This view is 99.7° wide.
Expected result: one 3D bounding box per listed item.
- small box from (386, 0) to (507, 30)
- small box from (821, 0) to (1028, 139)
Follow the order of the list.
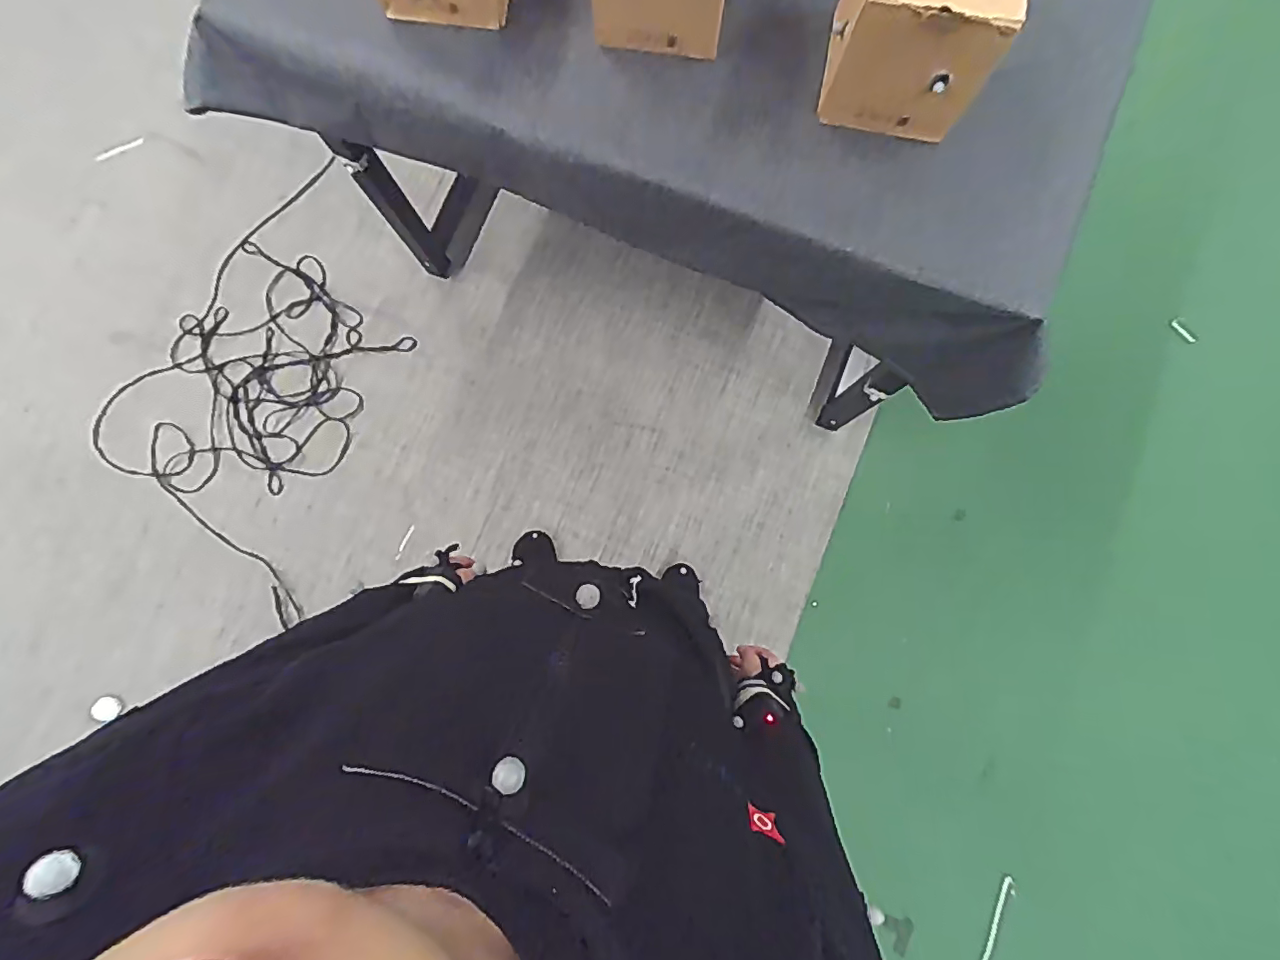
[{"bbox_3d":[-0.256,-0.718,0.668,0.168,0.176,0.179,7,83,1],"label":"small box"},{"bbox_3d":[0.330,-0.551,0.645,0.168,0.176,0.179,11,82,1],"label":"small box"}]
